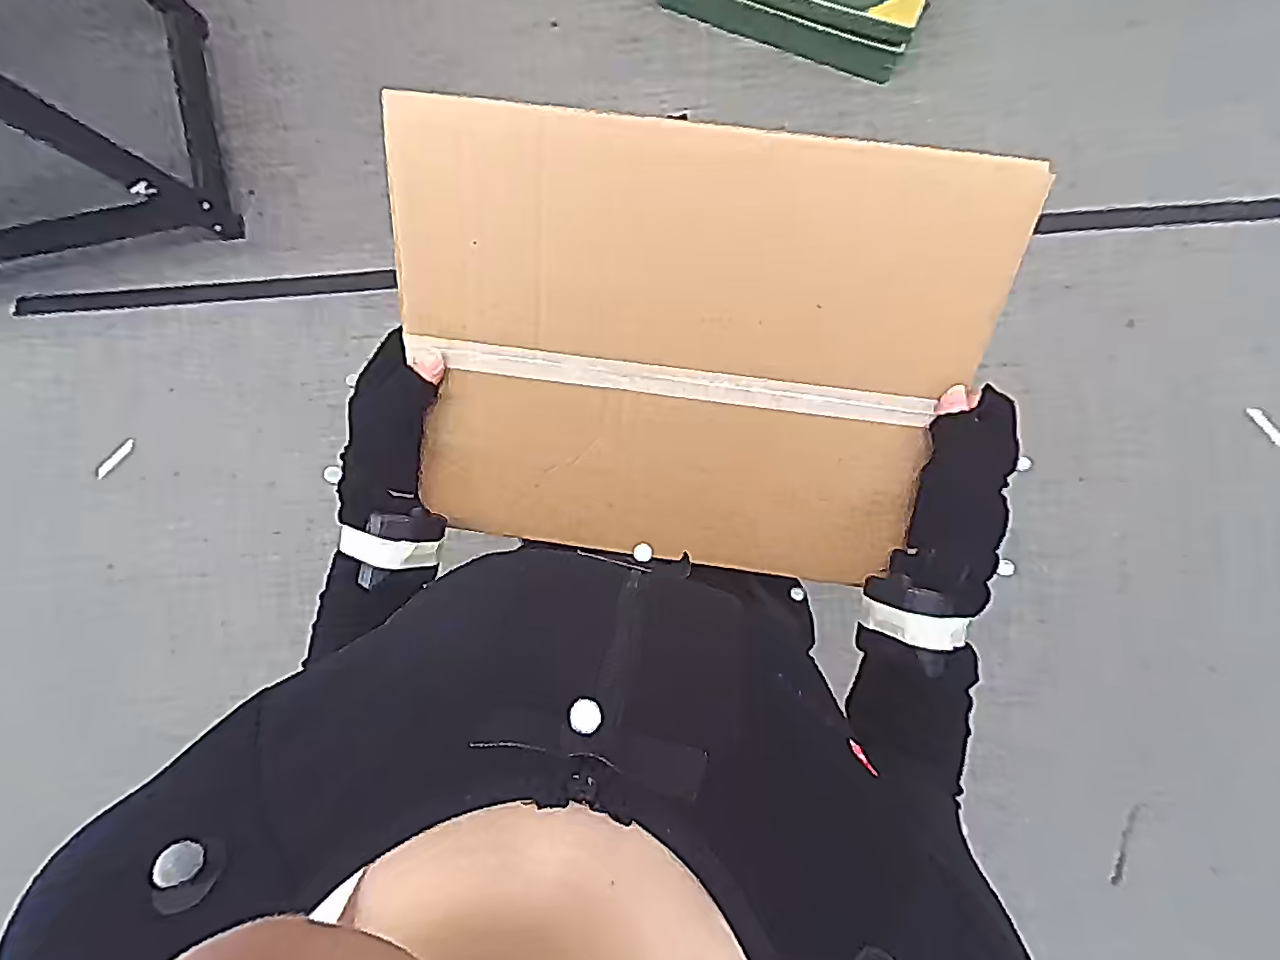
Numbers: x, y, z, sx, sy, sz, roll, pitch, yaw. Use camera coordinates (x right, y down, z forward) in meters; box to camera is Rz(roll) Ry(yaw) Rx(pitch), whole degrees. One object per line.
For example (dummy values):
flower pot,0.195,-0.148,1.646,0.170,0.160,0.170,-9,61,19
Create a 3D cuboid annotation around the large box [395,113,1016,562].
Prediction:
large box,0.041,-0.150,0.540,0.408,0.320,0.320,7,117,3
